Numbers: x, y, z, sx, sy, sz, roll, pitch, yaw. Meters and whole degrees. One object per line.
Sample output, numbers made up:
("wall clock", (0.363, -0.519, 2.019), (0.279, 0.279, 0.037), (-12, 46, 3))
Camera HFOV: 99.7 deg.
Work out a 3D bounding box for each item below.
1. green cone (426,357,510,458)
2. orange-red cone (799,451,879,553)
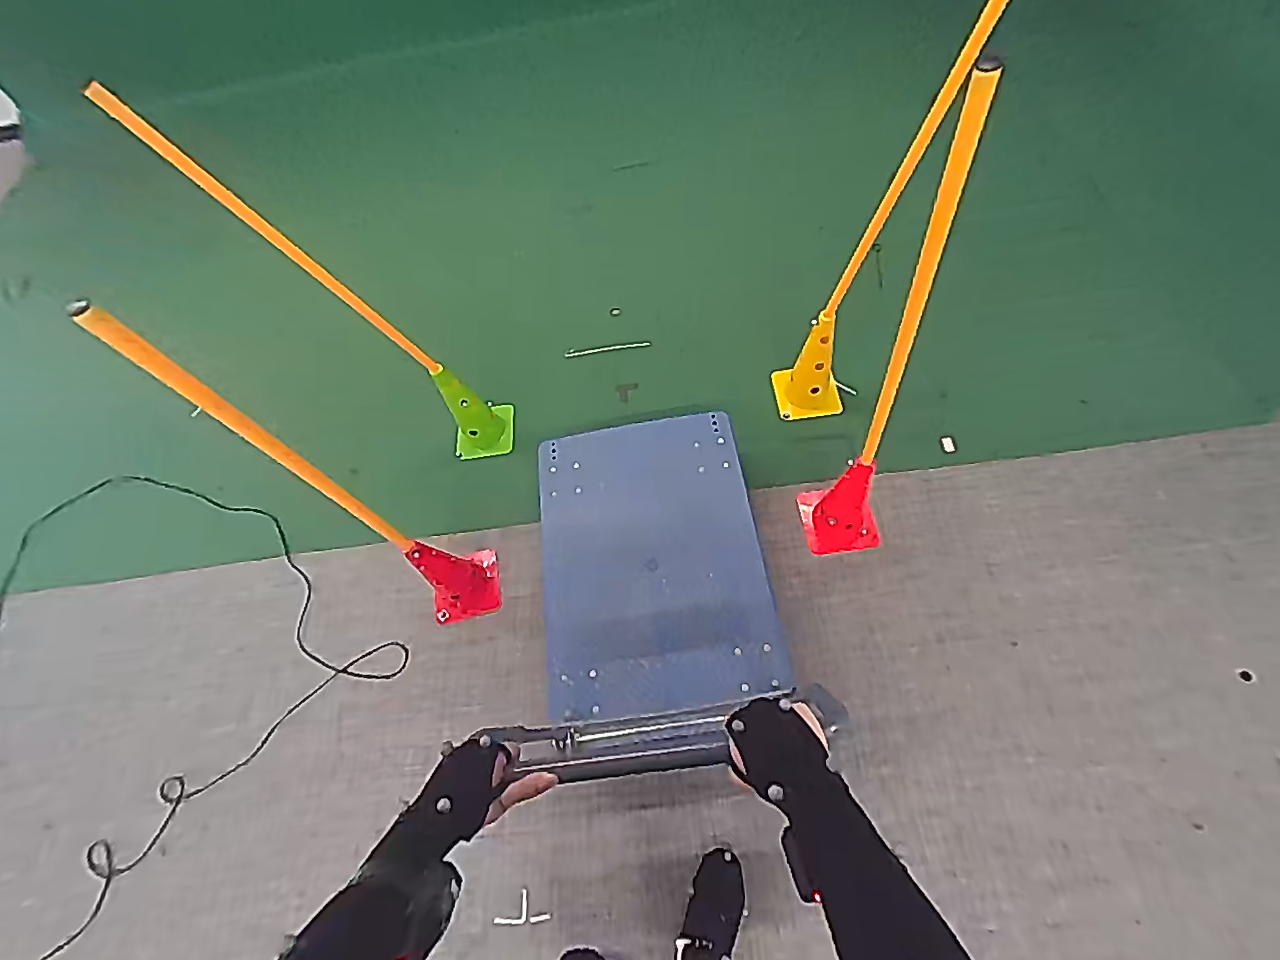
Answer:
("green cone", (-0.567, -0.252, 1.707), (0.200, 0.368, 0.202), (-8, 61, 5))
("orange-red cone", (0.550, 0.030, 1.407), (0.198, 0.360, 0.199), (-7, 61, 3))
